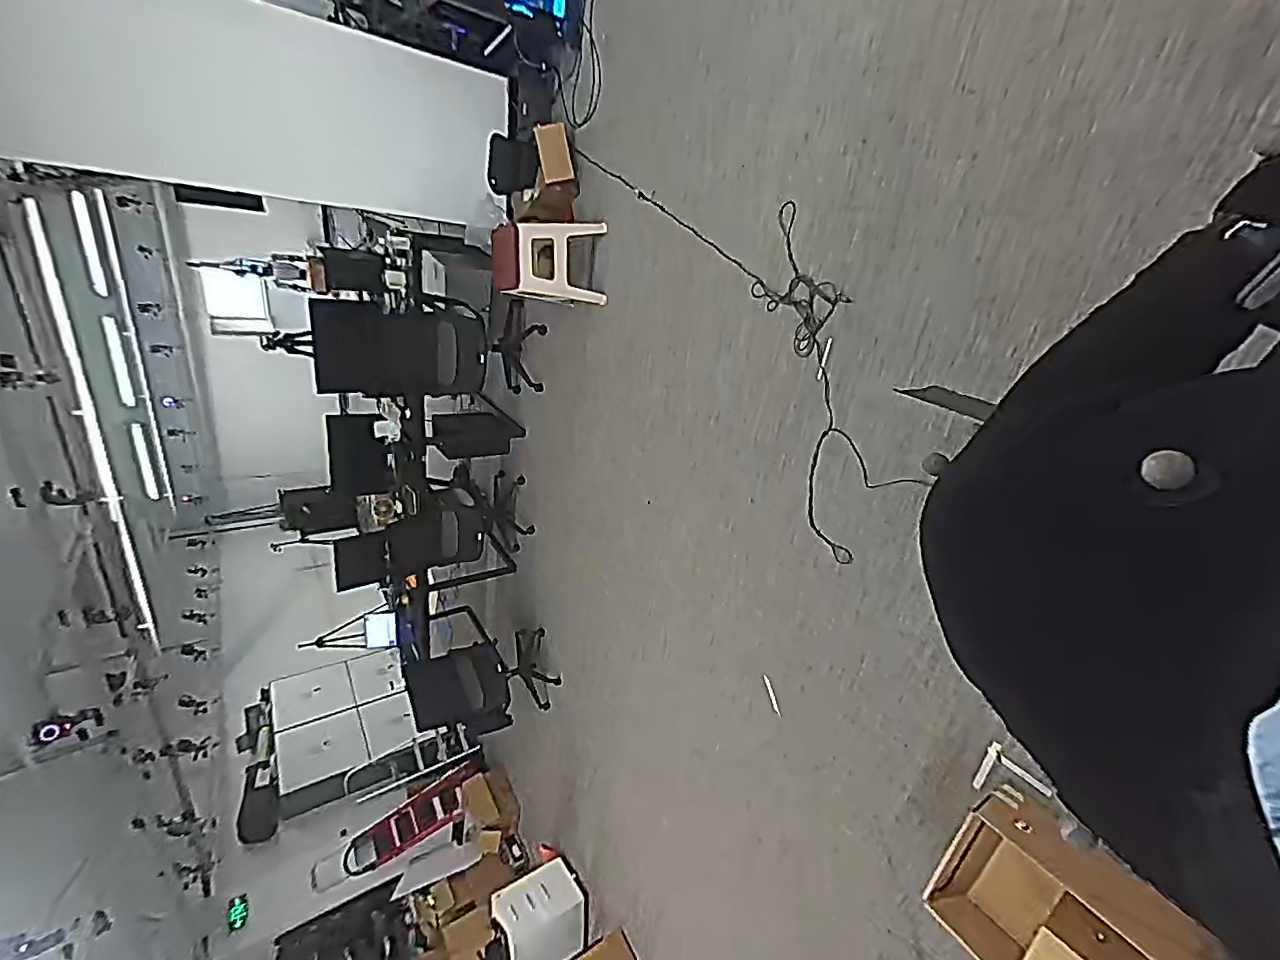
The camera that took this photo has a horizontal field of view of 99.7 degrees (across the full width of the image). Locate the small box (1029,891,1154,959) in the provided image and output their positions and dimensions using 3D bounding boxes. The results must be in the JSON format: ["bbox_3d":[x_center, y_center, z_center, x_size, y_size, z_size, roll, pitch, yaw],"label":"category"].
[{"bbox_3d":[1.048,1.120,1.259,0.168,0.176,0.179,31,123,49],"label":"small box"}]
